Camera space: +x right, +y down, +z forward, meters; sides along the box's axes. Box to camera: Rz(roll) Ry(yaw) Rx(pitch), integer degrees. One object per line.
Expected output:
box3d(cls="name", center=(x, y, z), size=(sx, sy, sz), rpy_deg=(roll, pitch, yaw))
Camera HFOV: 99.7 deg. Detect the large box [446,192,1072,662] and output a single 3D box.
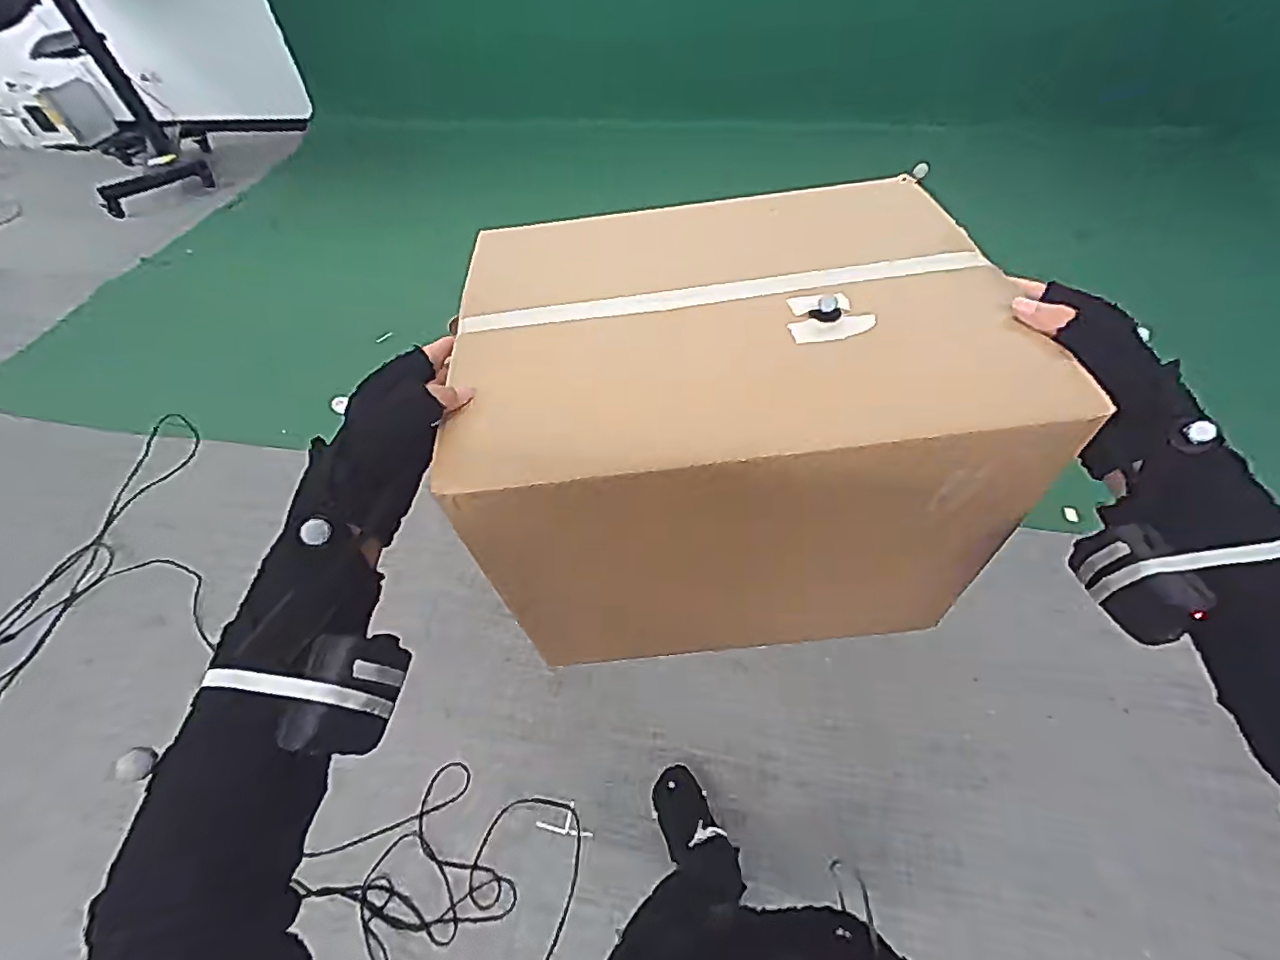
box3d(cls="large box", center=(0.071, -0.040, 0.542), size=(0.408, 0.320, 0.320), rpy_deg=(-7, 53, 1))
